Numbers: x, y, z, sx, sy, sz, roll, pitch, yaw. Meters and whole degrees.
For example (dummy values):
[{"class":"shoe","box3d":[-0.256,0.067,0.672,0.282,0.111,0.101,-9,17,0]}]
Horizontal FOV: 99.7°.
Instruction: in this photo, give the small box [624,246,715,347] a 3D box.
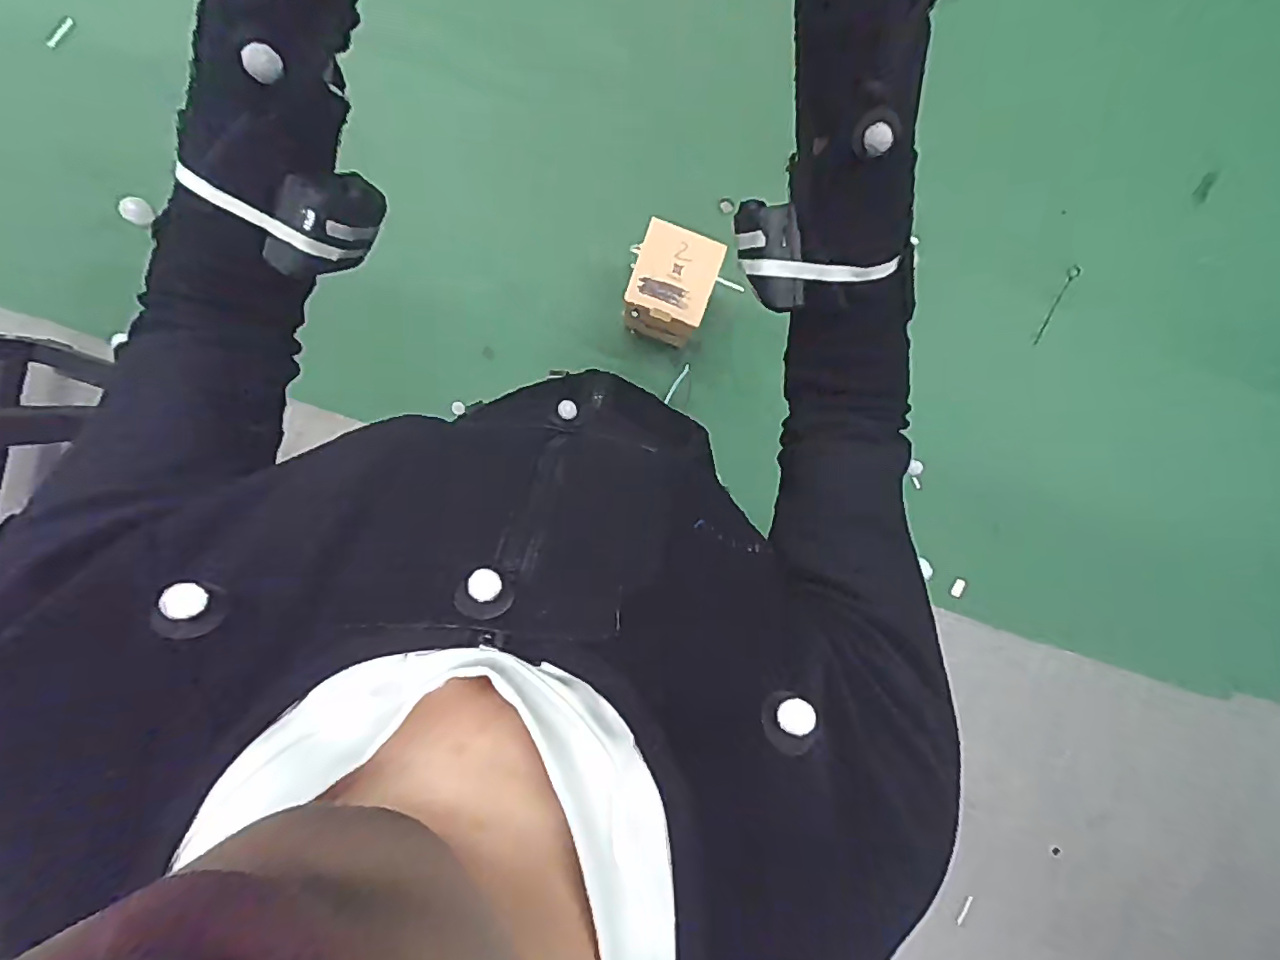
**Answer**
[{"class":"small box","box3d":[0.068,-0.443,1.341,0.168,0.176,0.179,21,96,-4]}]
